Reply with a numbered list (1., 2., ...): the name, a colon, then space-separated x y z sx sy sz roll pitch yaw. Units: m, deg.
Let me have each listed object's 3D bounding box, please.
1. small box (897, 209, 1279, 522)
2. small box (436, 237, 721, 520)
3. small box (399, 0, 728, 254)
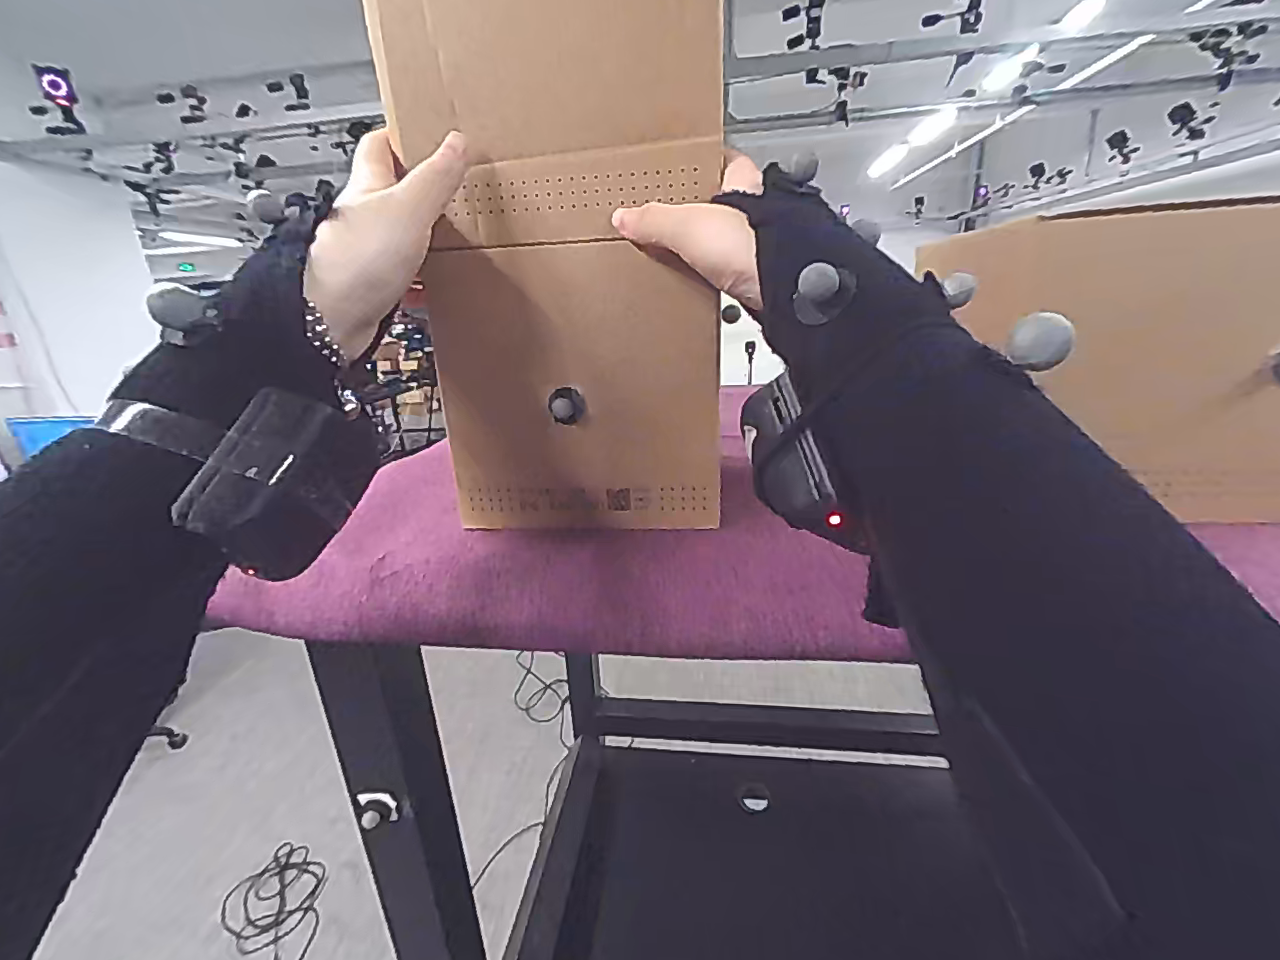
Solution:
1. small box: 0.296 -0.076 0.367 0.179 0.176 0.168 -1 17 7
2. small box: -0.024 -0.076 0.402 0.168 0.176 0.179 1 18 6
3. small box: -0.036 -0.231 0.351 0.179 0.176 0.168 -1 18 4
